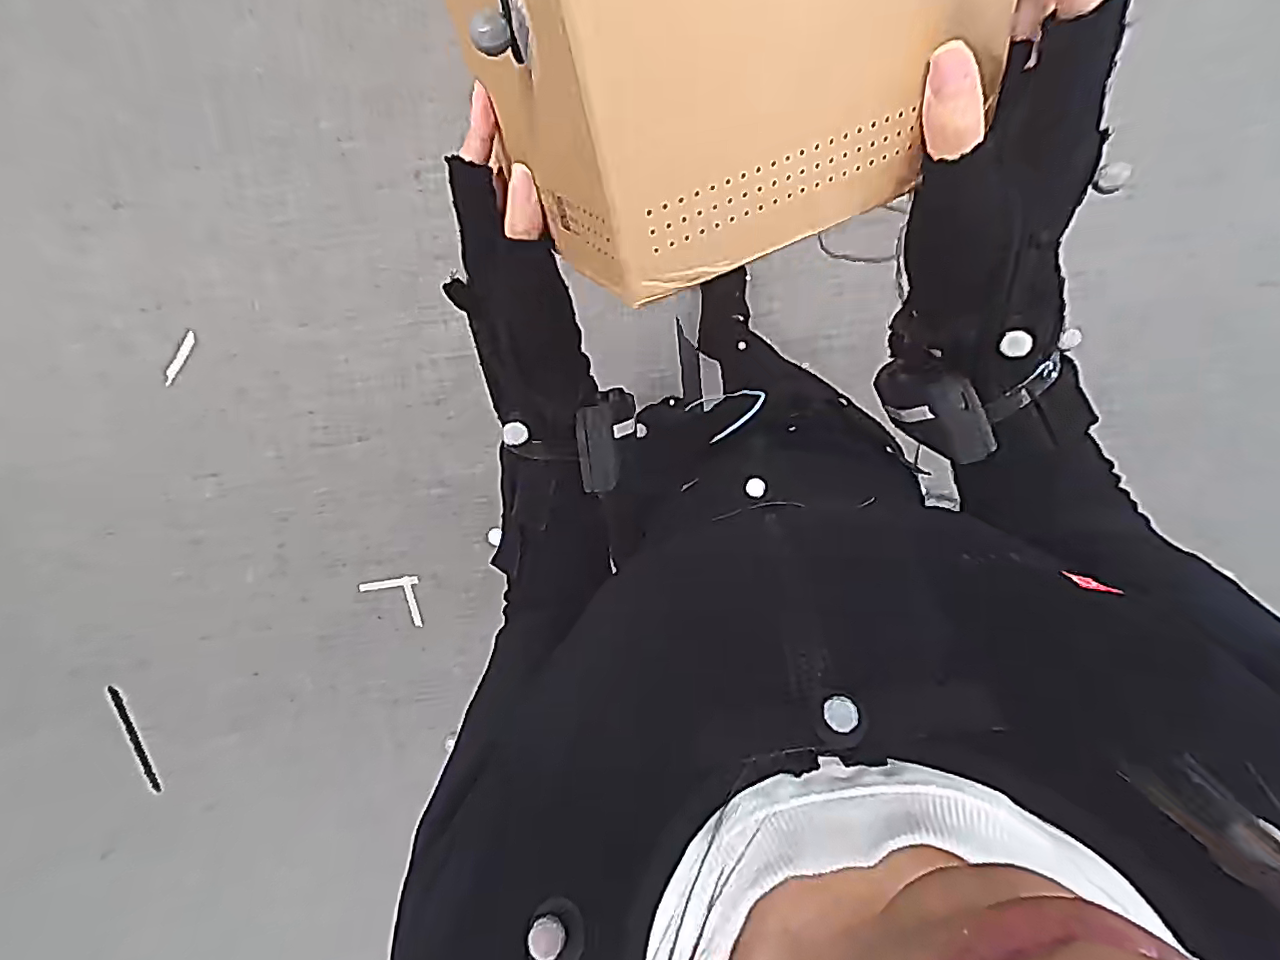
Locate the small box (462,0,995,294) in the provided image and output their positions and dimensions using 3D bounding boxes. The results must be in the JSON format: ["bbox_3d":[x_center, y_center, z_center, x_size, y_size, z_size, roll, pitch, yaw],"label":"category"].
[{"bbox_3d":[0.026,-0.202,0.230,0.179,0.168,0.176,-25,132,-10],"label":"small box"}]
